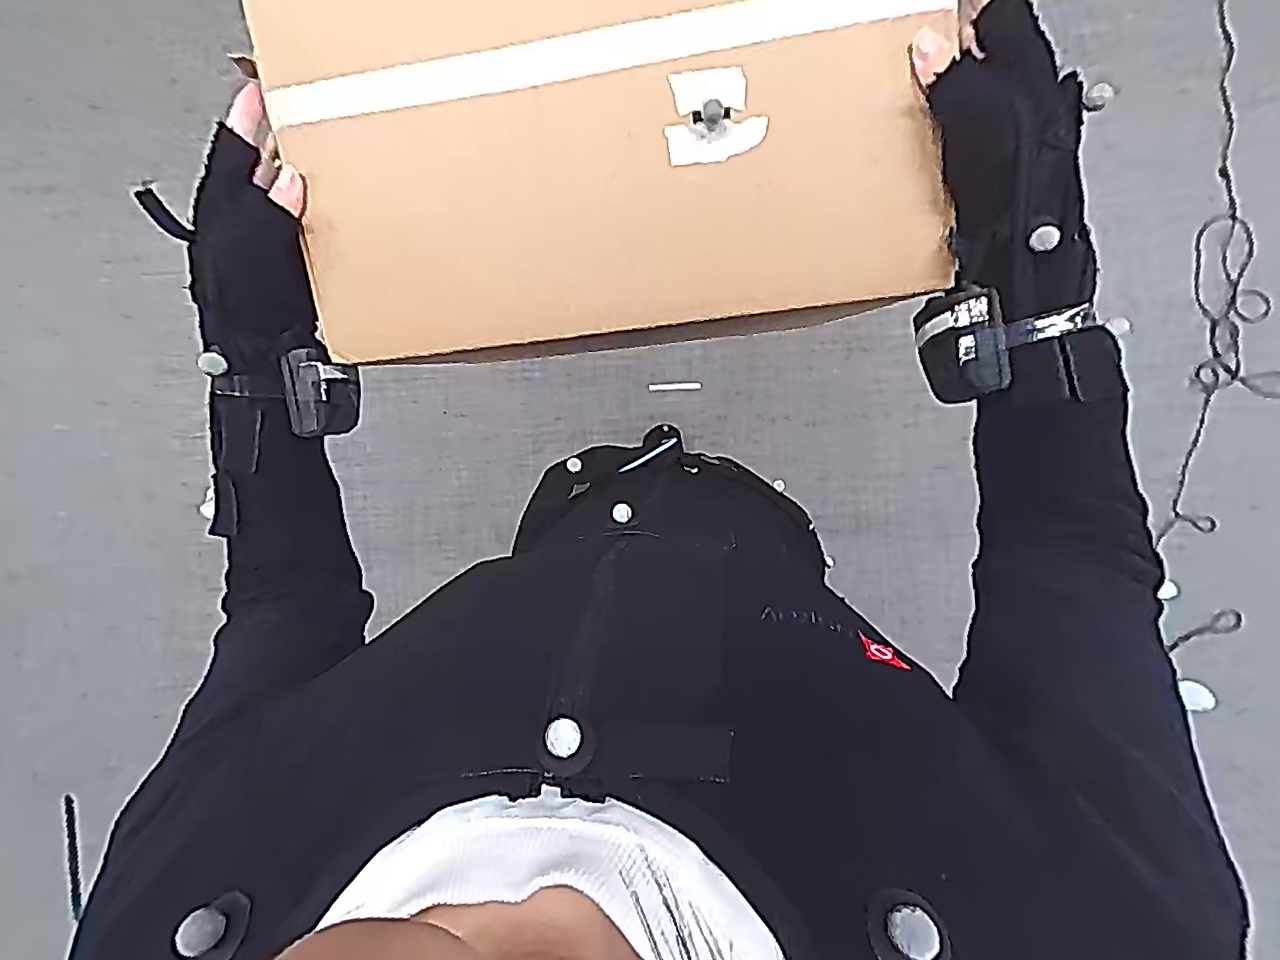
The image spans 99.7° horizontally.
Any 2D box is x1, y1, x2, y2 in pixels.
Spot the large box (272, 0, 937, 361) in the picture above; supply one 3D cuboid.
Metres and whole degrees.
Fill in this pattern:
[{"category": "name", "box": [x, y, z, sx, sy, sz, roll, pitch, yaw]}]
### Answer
[{"category": "large box", "box": [-0.018, -0.288, 0.478, 0.408, 0.320, 0.320, -6, 103, 5]}]
